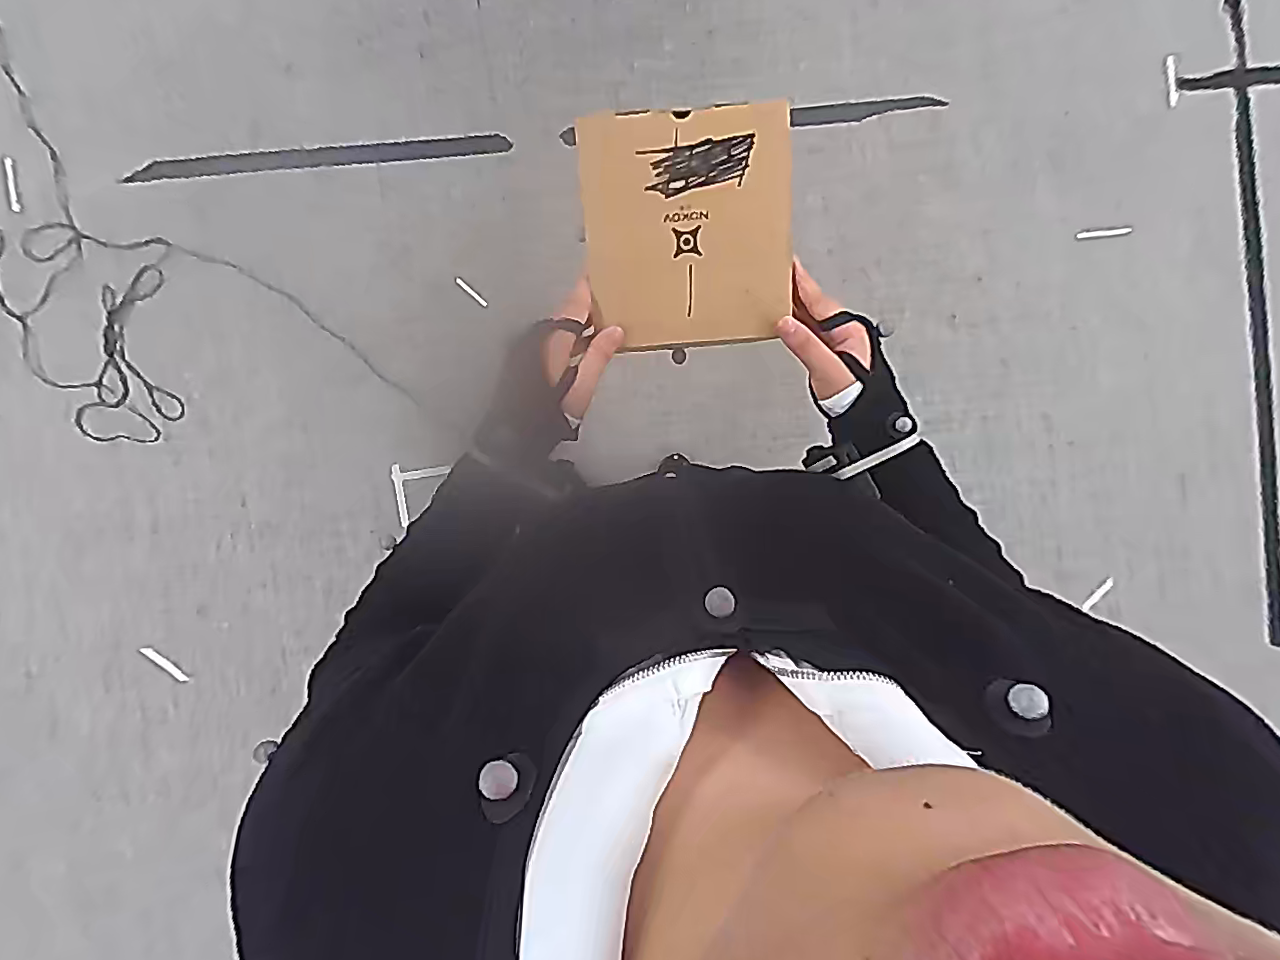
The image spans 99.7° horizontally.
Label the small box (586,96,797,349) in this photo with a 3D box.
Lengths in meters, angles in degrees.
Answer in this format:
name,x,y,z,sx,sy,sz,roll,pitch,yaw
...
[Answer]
name,x,y,z,sx,sy,sz,roll,pitch,yaw
small box,0.044,-0.221,0.509,0.168,0.176,0.179,-4,102,2
